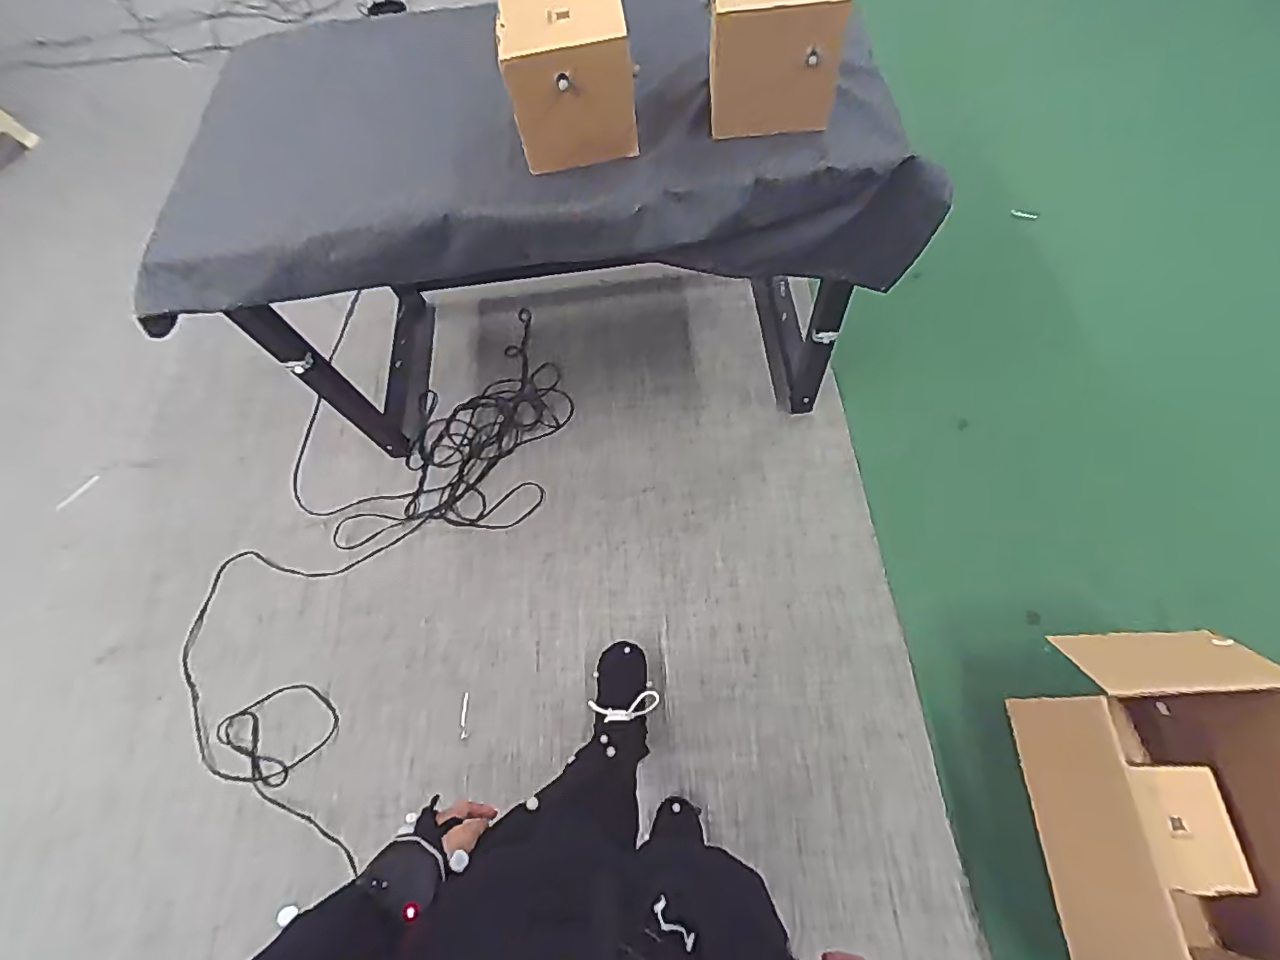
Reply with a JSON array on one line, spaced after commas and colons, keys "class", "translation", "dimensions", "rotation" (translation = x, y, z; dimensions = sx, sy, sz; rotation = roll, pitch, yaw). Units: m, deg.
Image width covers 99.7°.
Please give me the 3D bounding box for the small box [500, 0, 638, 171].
[{"class": "small box", "translation": [-0.099, -0.604, 0.814], "dimensions": [0.179, 0.176, 0.168], "rotation": [-9, 65, 3]}]
